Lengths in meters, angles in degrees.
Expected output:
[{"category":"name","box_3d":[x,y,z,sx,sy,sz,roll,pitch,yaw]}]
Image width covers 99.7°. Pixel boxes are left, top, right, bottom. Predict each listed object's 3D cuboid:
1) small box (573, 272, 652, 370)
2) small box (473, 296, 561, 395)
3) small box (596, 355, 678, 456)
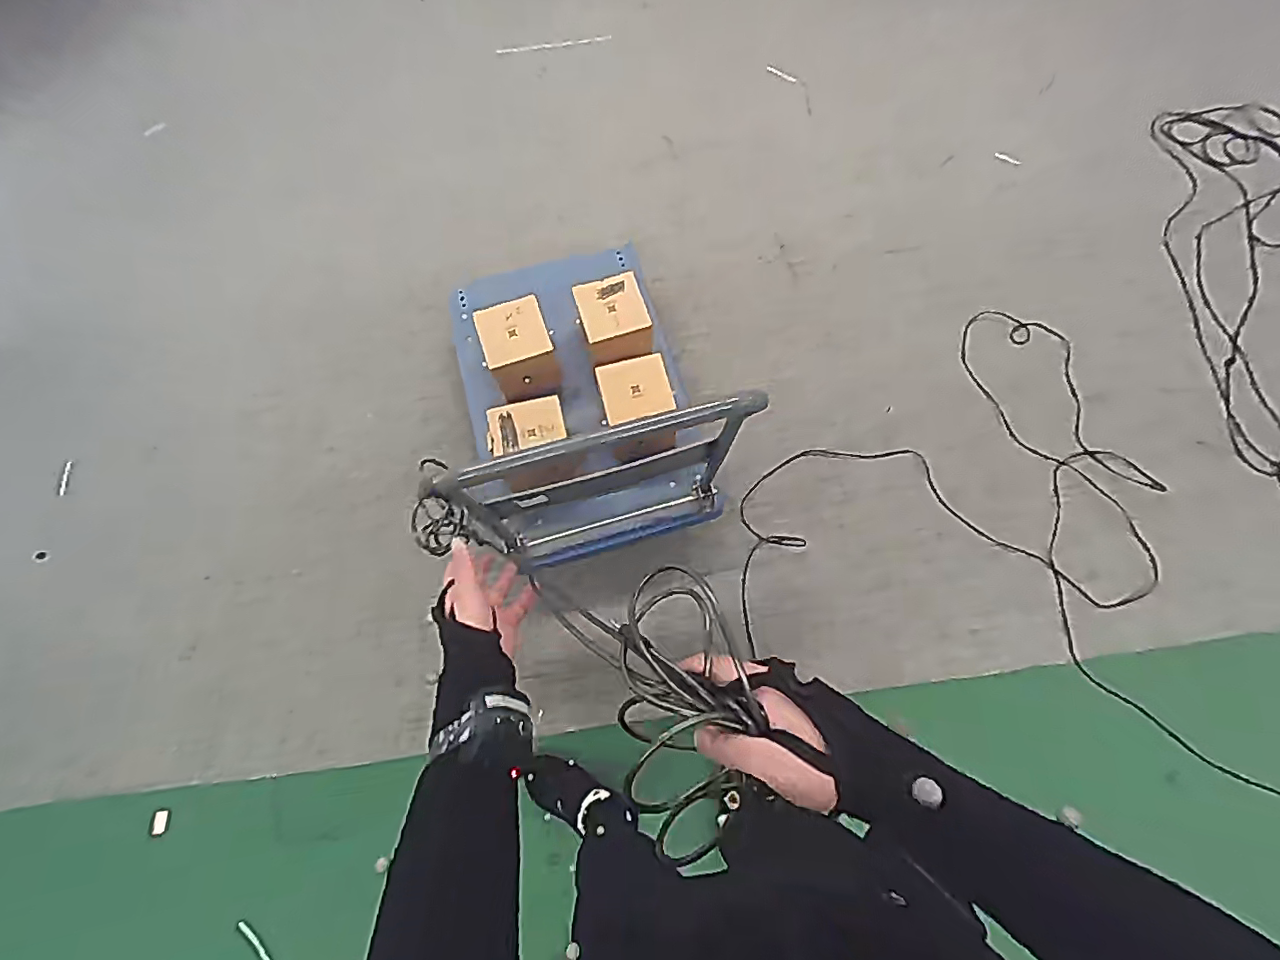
[{"category":"small box","box_3d":[-0.071,-0.410,1.433,0.168,0.176,0.179,-17,73,-3]},{"category":"small box","box_3d":[-0.317,-0.341,1.417,0.168,0.176,0.179,-19,72,-5]},{"category":"small box","box_3d":[-0.009,-0.183,1.359,0.168,0.176,0.179,-14,72,-3]}]
